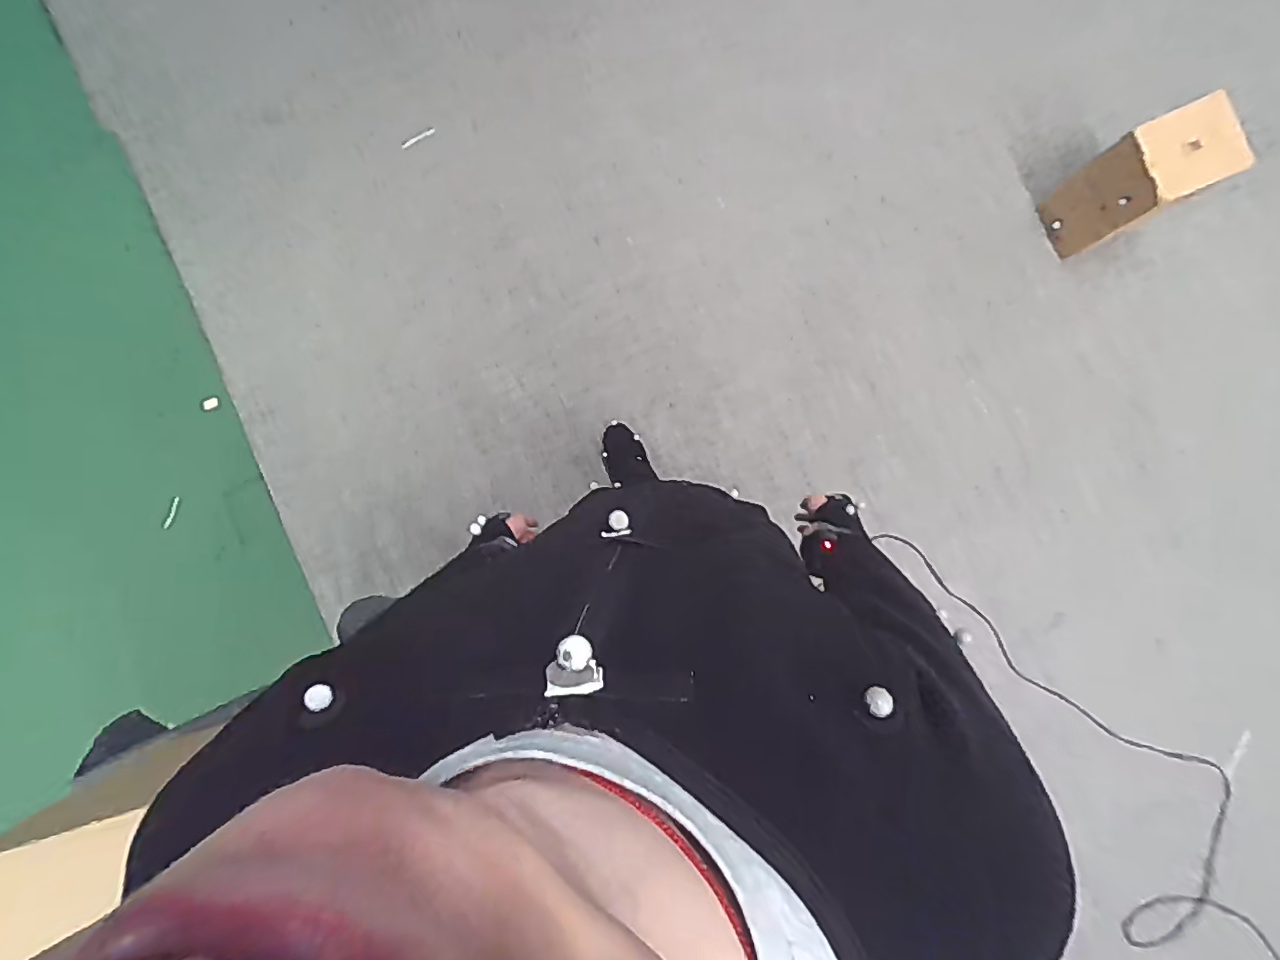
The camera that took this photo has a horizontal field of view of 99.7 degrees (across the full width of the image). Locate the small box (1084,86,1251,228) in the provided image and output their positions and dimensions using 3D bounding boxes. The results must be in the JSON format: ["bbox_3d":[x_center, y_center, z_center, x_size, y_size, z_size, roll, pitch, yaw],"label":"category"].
[{"bbox_3d":[1.098,-0.671,1.148,0.179,0.176,0.168,-23,92,6],"label":"small box"}]

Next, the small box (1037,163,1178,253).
[{"bbox_3d":[1.121,-0.683,1.308,0.179,0.176,0.168,-24,91,8],"label":"small box"}]
